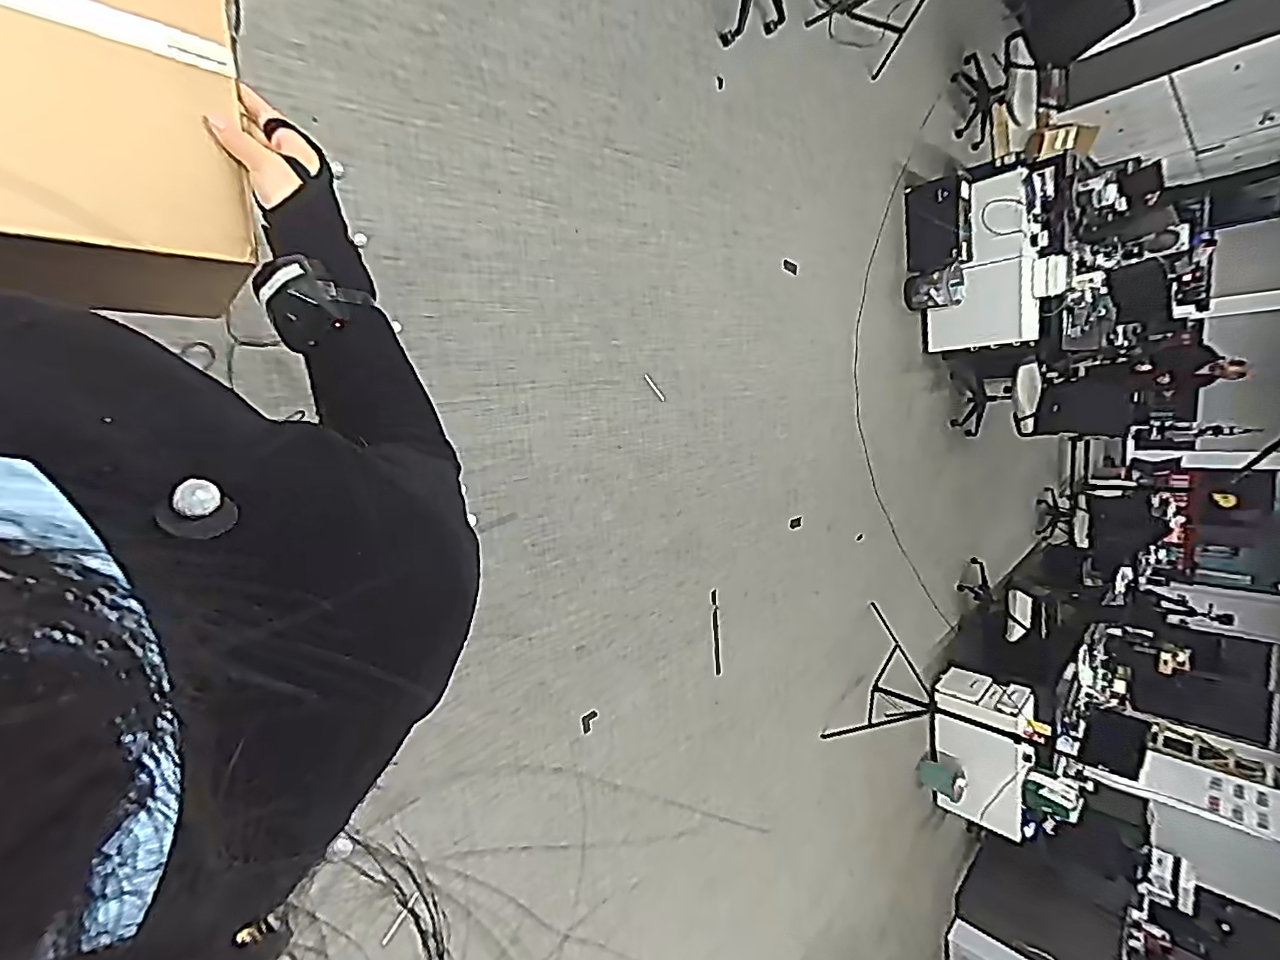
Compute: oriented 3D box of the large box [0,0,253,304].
[{"bbox_3d":[-0.595,-0.334,0.434,0.408,0.320,0.320,-10,100,-42],"label":"large box"}]
